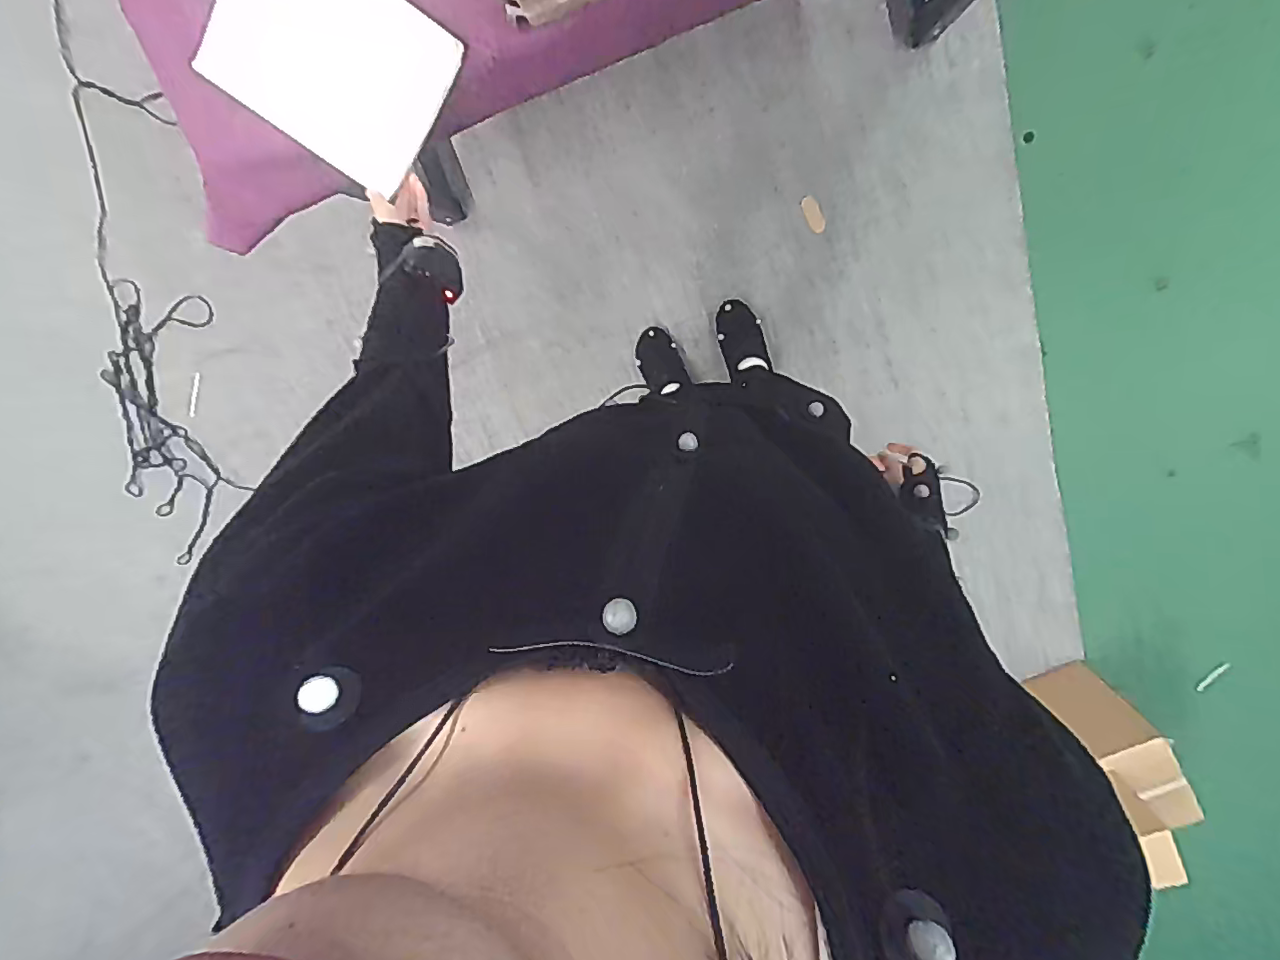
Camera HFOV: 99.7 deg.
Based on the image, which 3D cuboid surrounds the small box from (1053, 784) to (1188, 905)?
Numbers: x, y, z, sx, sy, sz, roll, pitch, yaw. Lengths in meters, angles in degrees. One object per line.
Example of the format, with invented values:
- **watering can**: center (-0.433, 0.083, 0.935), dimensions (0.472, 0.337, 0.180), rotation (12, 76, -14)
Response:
- **small box**: center (1.162, 0.878, 1.322), dimensions (0.168, 0.176, 0.179), rotation (-25, 104, 12)

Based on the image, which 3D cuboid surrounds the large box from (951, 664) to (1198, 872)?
- **large box**: center (1.216, 0.815, 1.558), dimensions (0.408, 0.320, 0.320), rotation (-32, 104, 12)
